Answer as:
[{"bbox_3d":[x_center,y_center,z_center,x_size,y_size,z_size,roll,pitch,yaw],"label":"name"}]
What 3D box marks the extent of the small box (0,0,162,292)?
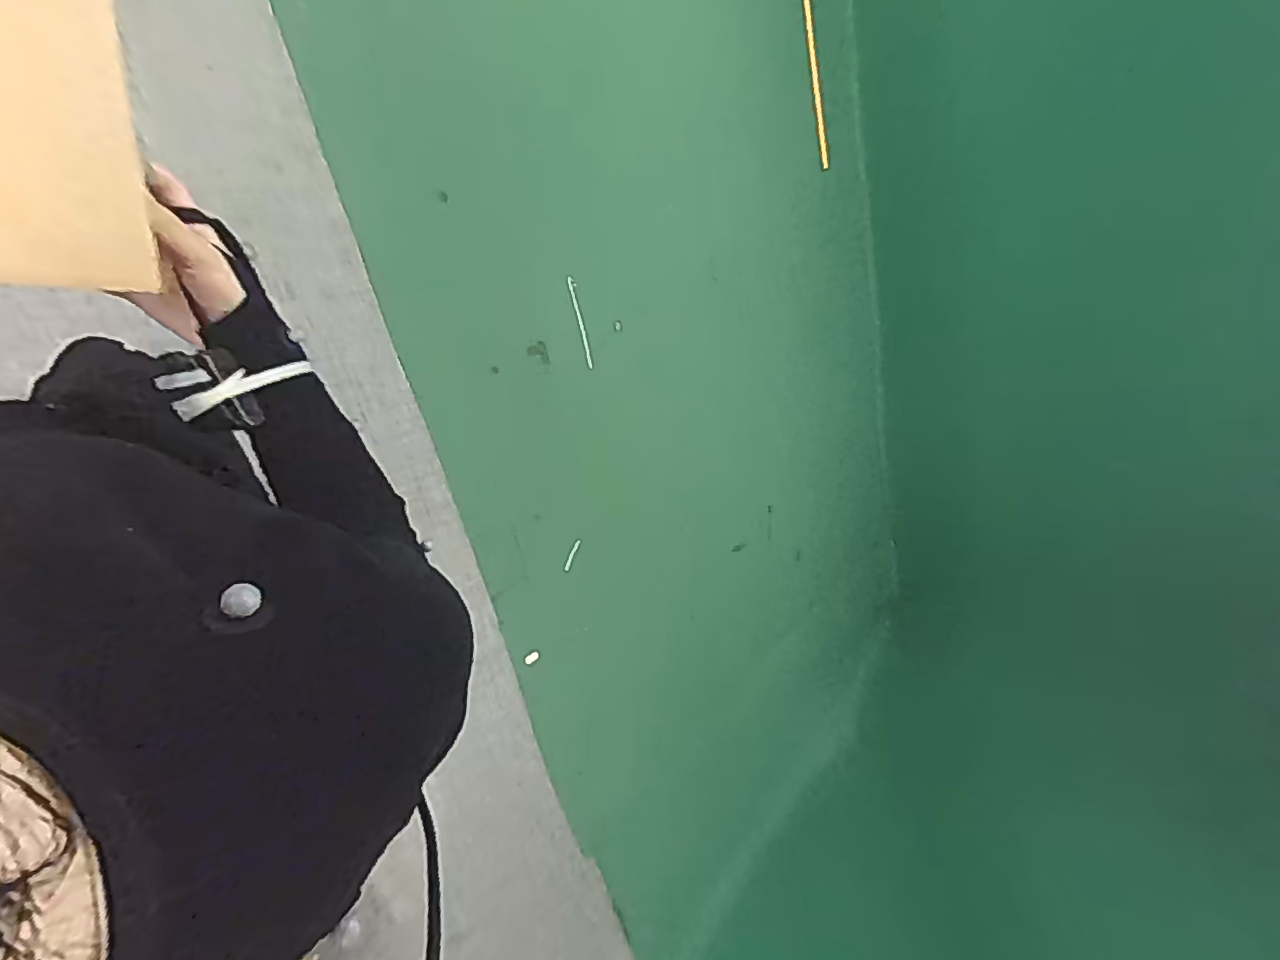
[{"bbox_3d":[-0.376,-0.198,0.264,0.179,0.176,0.168,-15,124,-46],"label":"small box"}]
